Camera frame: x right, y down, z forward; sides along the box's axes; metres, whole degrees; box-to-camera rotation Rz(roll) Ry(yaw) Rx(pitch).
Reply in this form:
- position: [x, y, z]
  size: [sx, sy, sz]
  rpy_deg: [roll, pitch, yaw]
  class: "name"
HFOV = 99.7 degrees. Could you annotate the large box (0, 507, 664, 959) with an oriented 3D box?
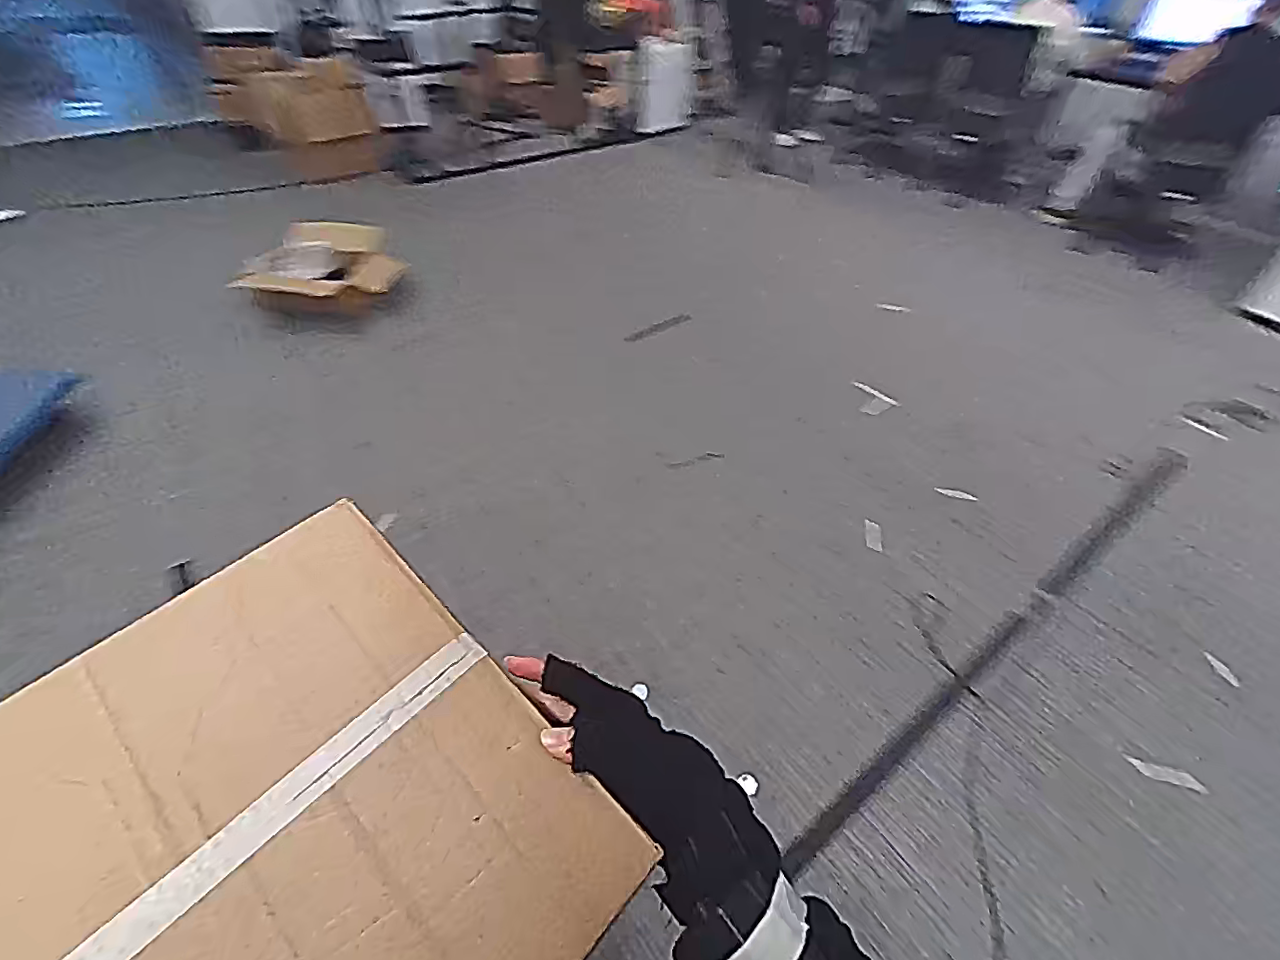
- position: [-0.240, 0.305, 0.383]
  size: [0.408, 0.320, 0.320]
  rpy_deg: [-37, 66, -27]
  class: "large box"
